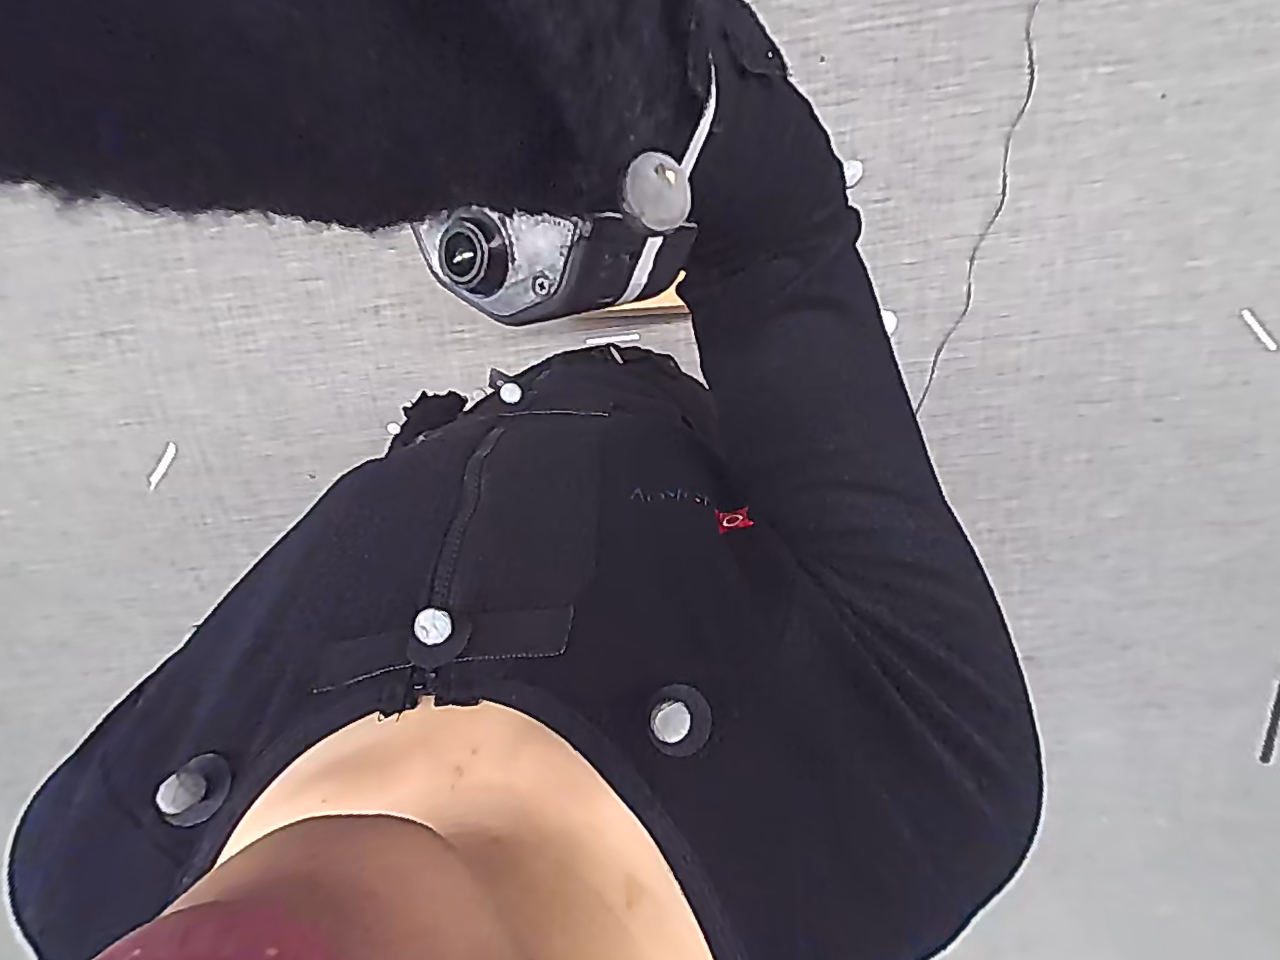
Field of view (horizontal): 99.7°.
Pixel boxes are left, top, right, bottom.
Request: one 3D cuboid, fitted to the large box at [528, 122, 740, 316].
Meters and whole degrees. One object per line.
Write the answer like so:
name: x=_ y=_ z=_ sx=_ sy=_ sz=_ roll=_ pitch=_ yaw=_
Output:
large box: x=-0.005 y=-0.548 z=1.204 sx=0.408 sy=0.320 sz=0.320 roll=-3 pitch=105 yaw=2
